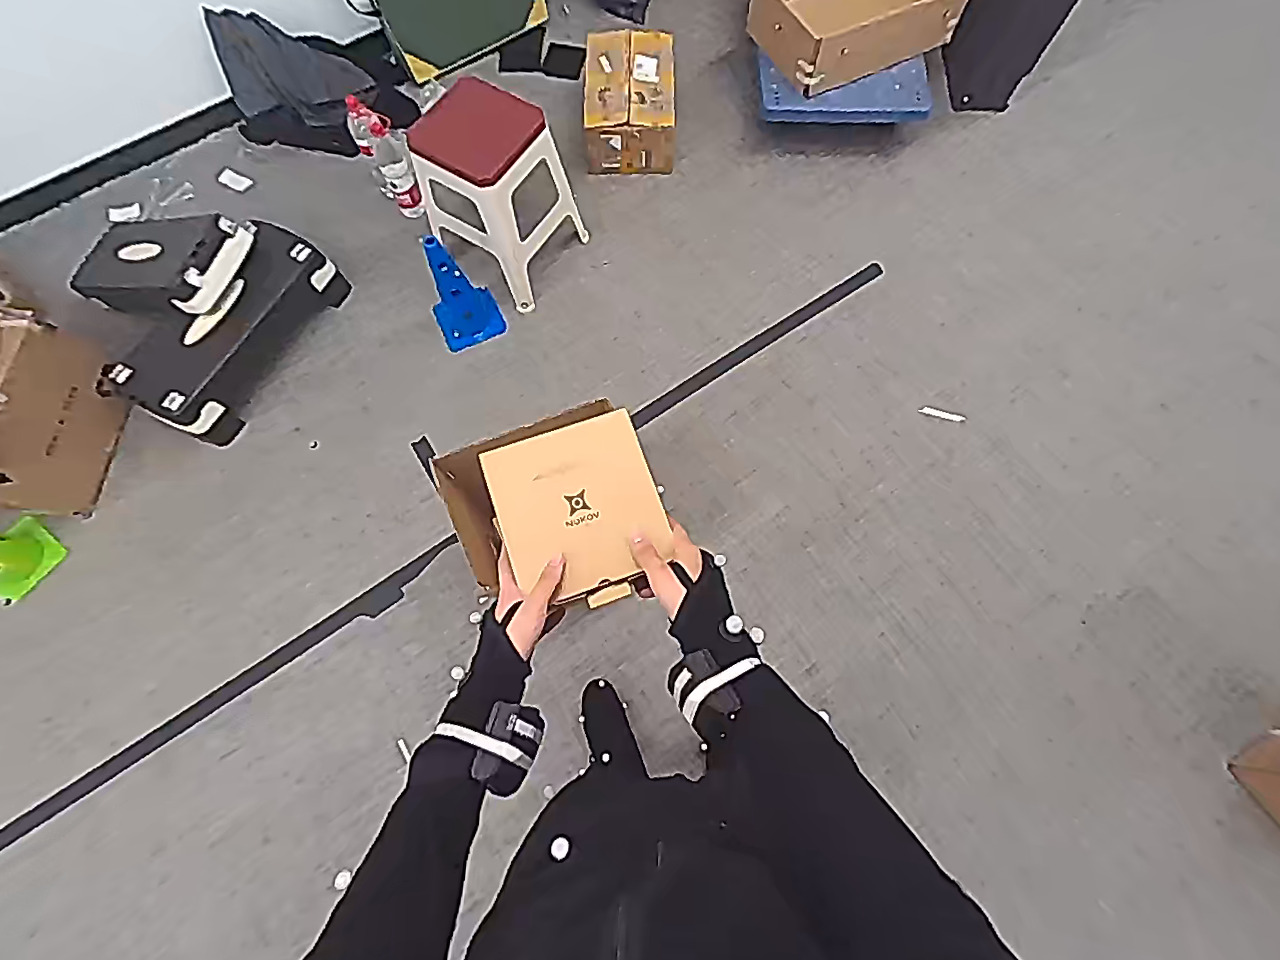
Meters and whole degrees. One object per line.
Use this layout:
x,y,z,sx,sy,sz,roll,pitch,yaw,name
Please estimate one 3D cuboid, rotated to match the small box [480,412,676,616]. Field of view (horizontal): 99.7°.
-0.068,0.048,0.631,0.168,0.176,0.179,-18,77,-8,small box
